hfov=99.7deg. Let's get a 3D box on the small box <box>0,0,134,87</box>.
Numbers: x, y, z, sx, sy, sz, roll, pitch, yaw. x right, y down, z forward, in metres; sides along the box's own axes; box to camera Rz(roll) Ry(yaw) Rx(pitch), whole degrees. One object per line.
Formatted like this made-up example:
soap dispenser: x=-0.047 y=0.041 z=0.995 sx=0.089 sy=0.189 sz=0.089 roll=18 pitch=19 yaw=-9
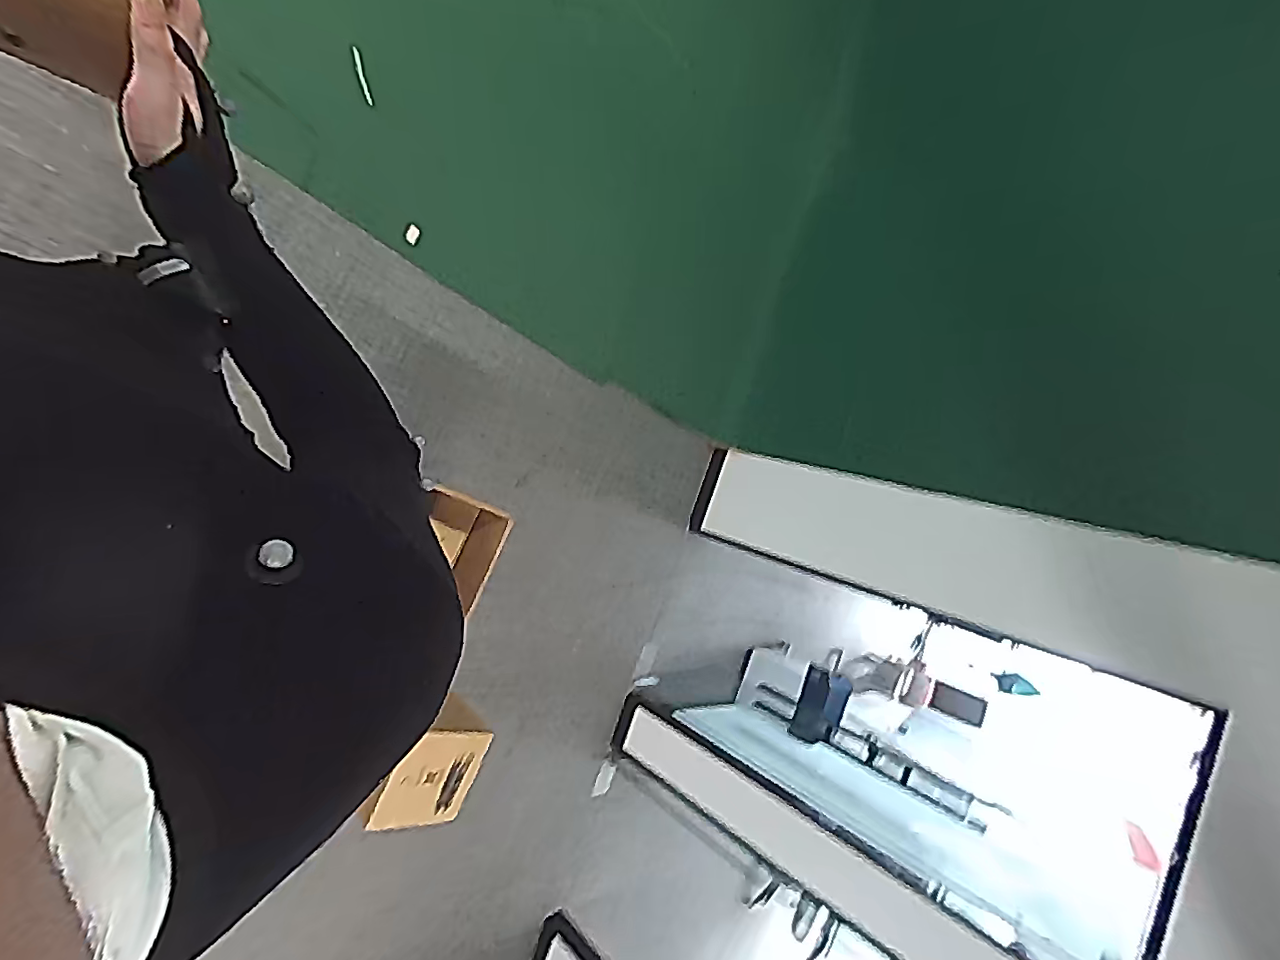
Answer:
small box: x=-0.427 y=-0.405 z=0.341 sx=0.168 sy=0.176 sz=0.179 roll=6 pitch=87 yaw=-47
